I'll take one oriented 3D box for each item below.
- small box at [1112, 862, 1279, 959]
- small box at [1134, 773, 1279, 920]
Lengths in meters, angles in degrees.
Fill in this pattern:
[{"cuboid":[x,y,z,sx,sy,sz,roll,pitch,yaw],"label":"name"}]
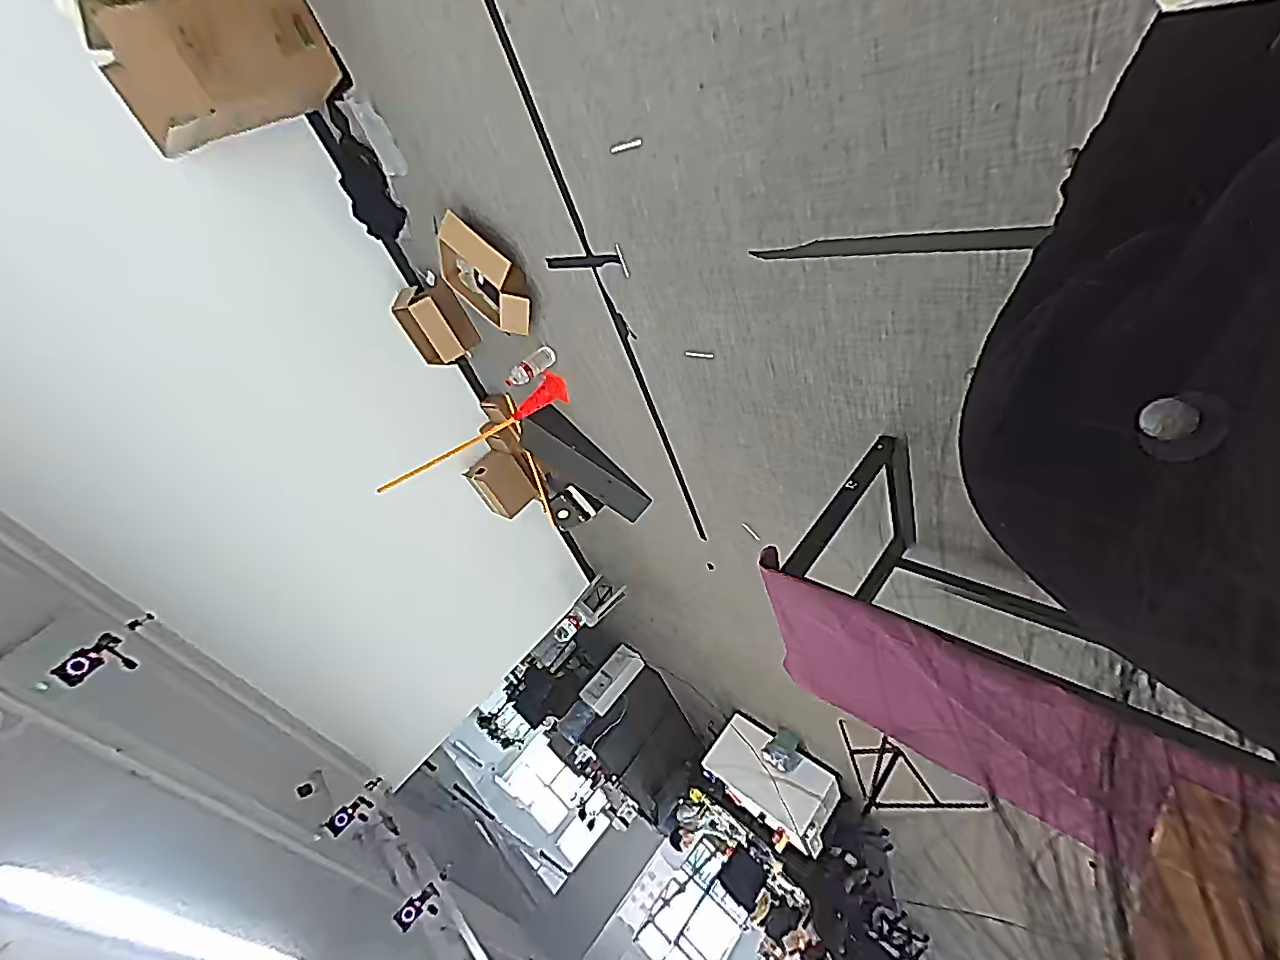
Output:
[{"cuboid":[0.922,0.777,0.897,0.179,0.176,0.168,14,142,46],"label":"small box"},{"cuboid":[1.024,0.672,0.967,0.168,0.176,0.179,16,142,45],"label":"small box"}]
